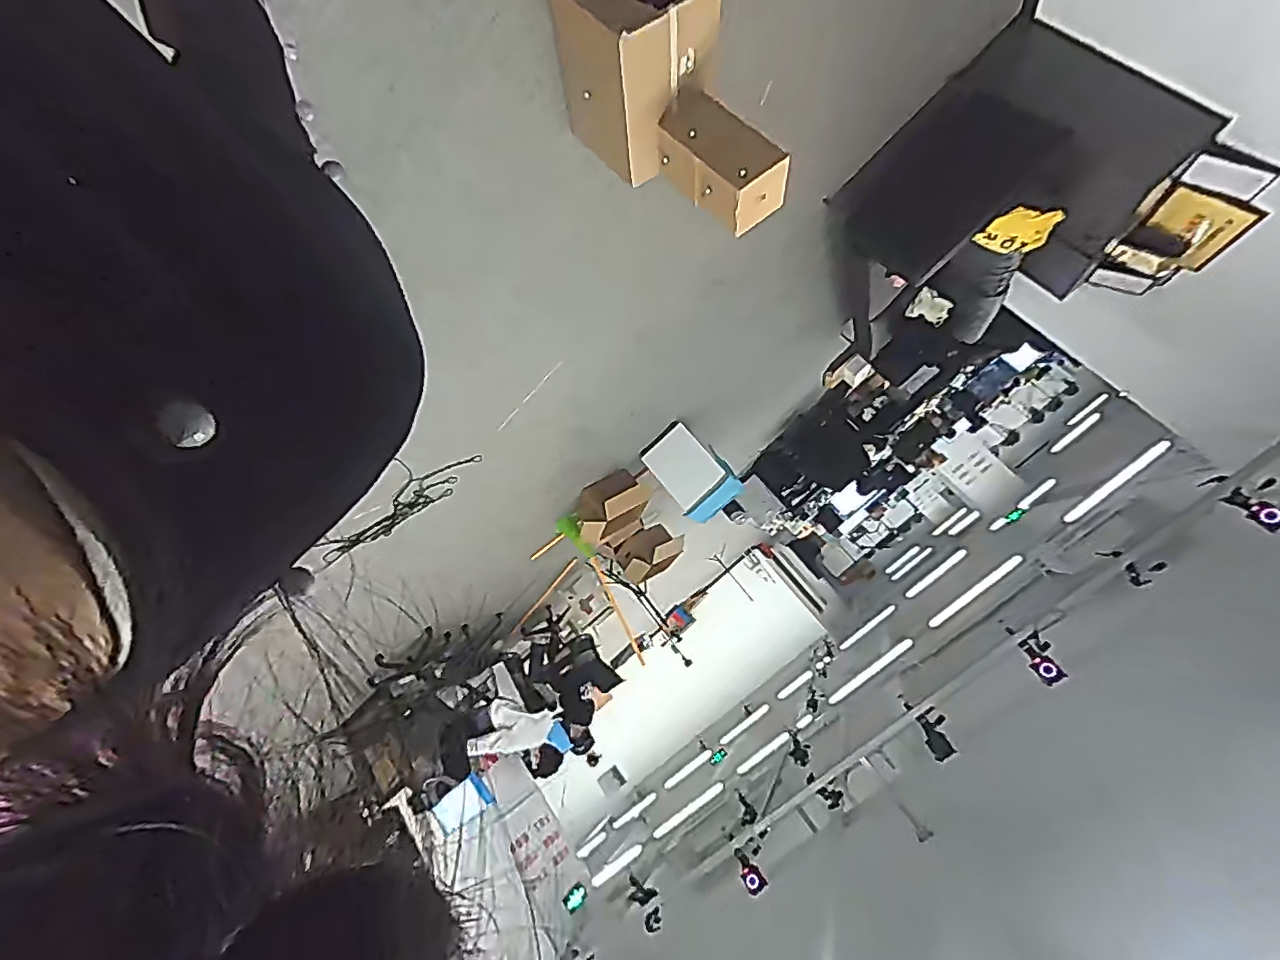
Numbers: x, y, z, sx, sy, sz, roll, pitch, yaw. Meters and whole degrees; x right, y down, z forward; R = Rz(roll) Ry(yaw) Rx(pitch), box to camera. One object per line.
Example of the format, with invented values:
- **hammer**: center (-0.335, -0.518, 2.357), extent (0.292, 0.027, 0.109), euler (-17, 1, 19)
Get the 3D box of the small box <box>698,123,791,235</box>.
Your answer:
- **small box**: center (0.278, -0.819, 1.467), extent (0.179, 0.176, 0.168), euler (-37, 161, -6)
